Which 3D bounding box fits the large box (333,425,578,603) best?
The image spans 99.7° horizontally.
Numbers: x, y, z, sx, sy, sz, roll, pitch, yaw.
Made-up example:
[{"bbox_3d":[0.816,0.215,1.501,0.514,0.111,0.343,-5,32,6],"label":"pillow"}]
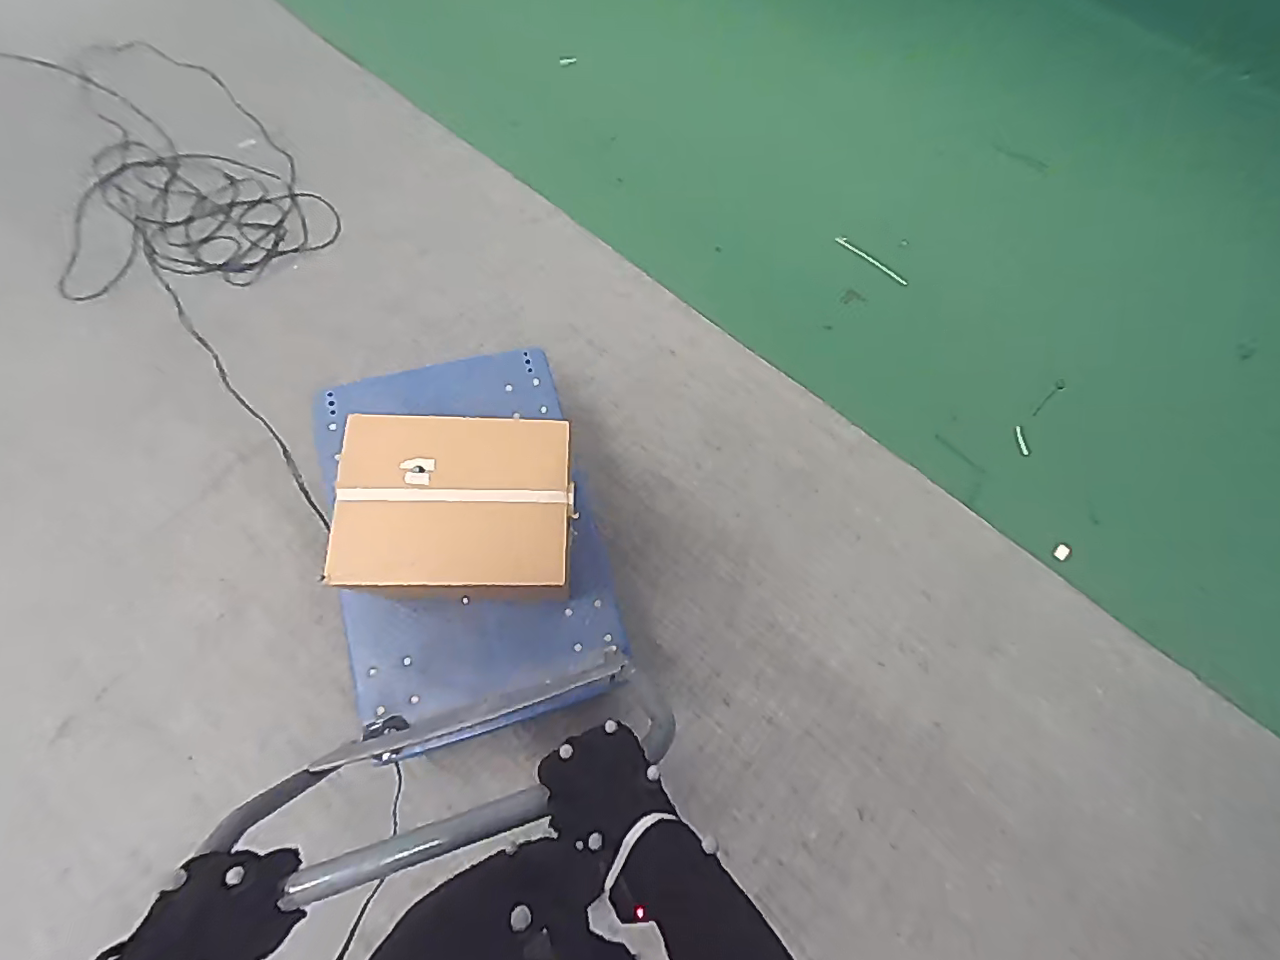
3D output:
[{"bbox_3d":[-0.336,0.086,1.111,0.408,0.320,0.320,0,73,-5],"label":"large box"}]
